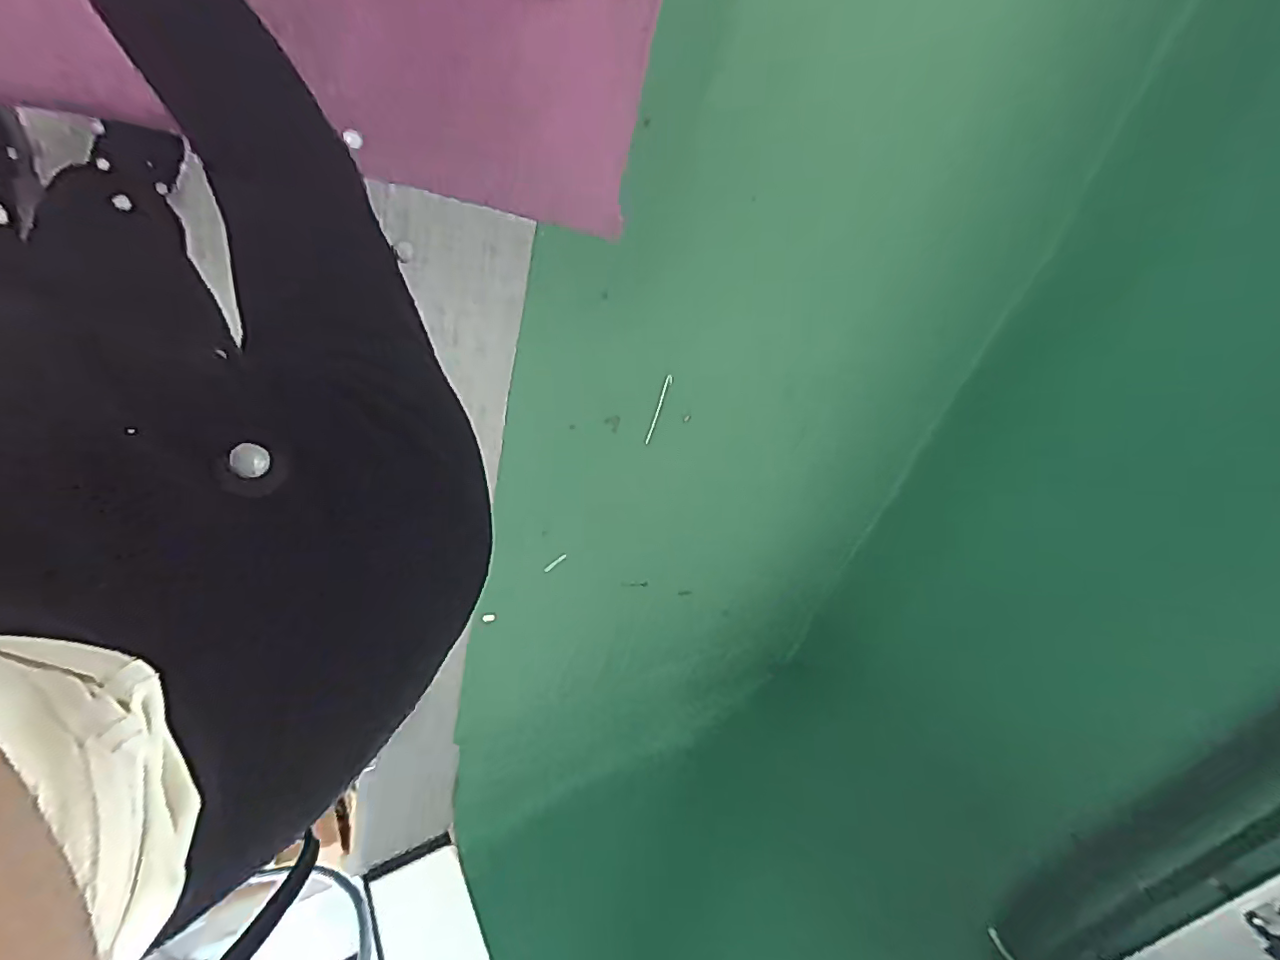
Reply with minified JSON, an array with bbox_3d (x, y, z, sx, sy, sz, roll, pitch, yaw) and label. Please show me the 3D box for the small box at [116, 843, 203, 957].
[{"bbox_3d":[-1.349,1.177,1.528,0.168,0.176,0.179,-4,125,-37],"label":"small box"}]
